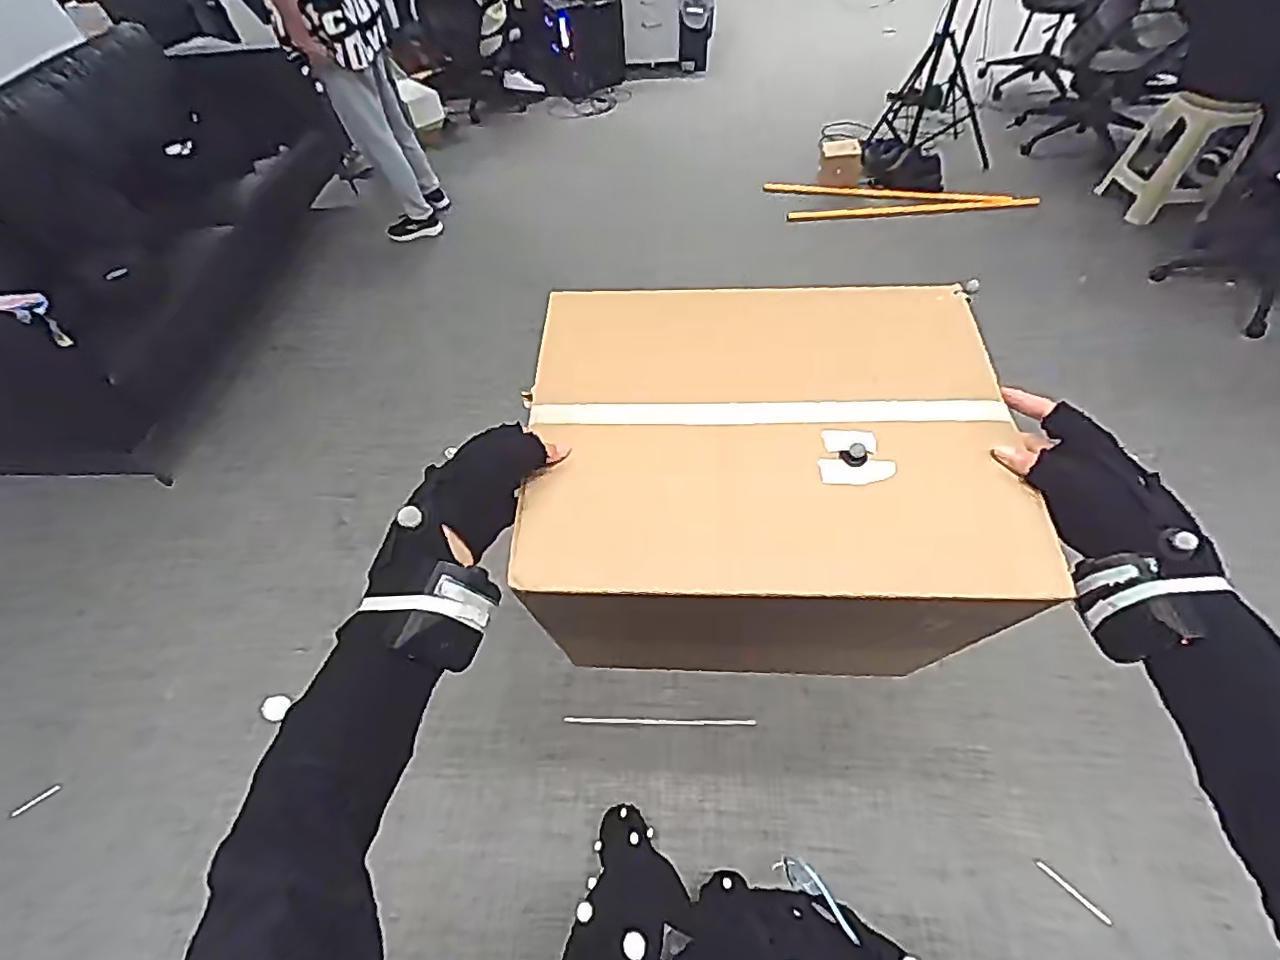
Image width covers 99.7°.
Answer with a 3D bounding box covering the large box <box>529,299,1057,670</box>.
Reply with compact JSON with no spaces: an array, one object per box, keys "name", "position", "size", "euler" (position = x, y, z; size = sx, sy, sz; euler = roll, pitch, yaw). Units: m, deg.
[{"name":"large box","position":[0.117,0.024,0.606],"size":[0.408,0.320,0.320],"euler":[0,61,2]}]
